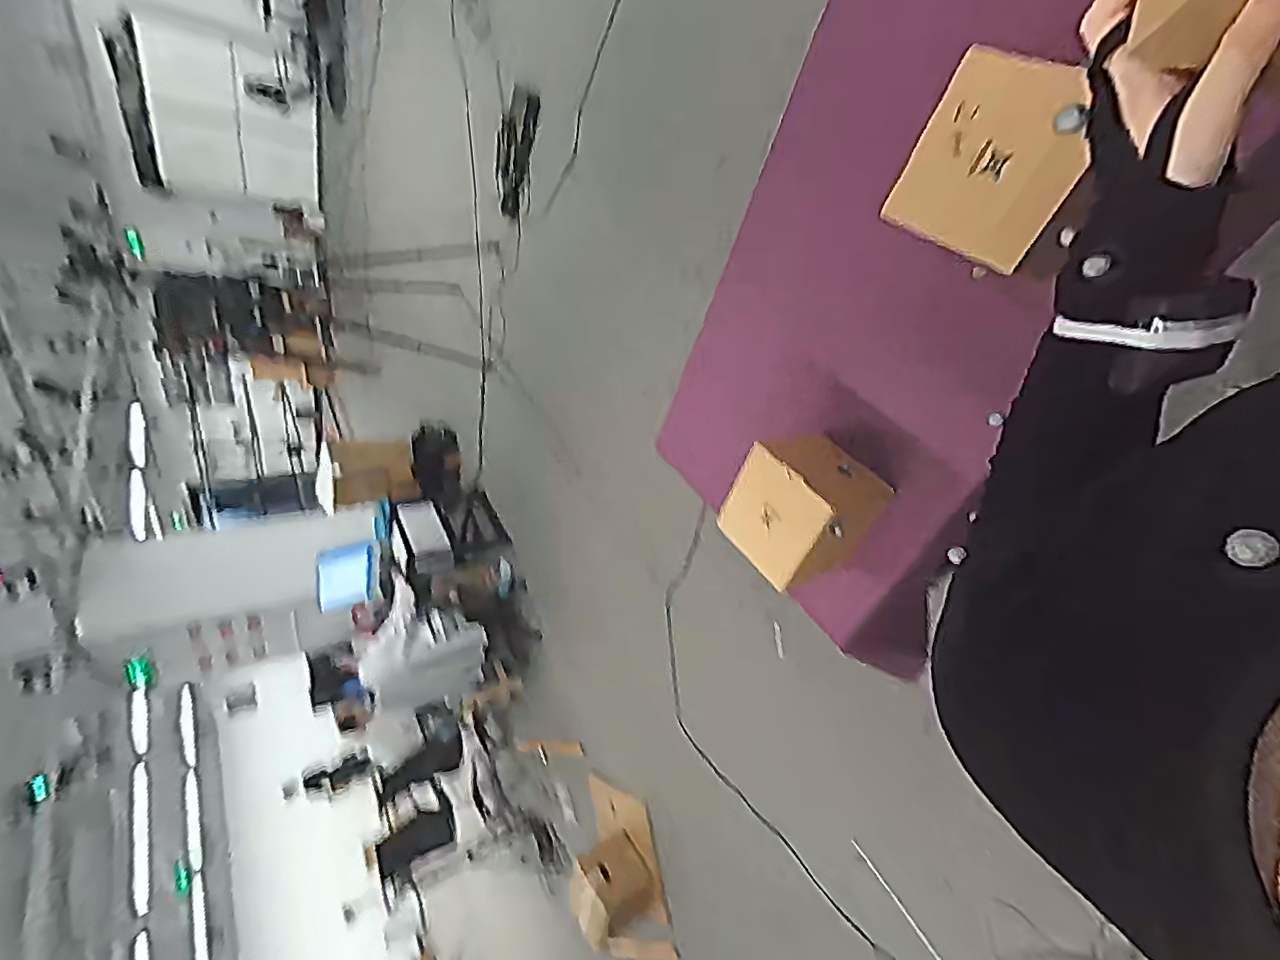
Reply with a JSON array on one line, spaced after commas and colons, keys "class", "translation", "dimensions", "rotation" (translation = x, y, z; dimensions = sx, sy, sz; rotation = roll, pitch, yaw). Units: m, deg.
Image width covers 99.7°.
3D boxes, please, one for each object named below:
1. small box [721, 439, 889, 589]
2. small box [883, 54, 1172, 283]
[{"class": "small box", "translation": [0.271, 0.049, 0.891], "dimensions": [0.168, 0.176, 0.179], "rotation": [49, 132, 37]}, {"class": "small box", "translation": [0.424, -0.334, 0.602], "dimensions": [0.179, 0.176, 0.168], "rotation": [52, 134, 35]}]
